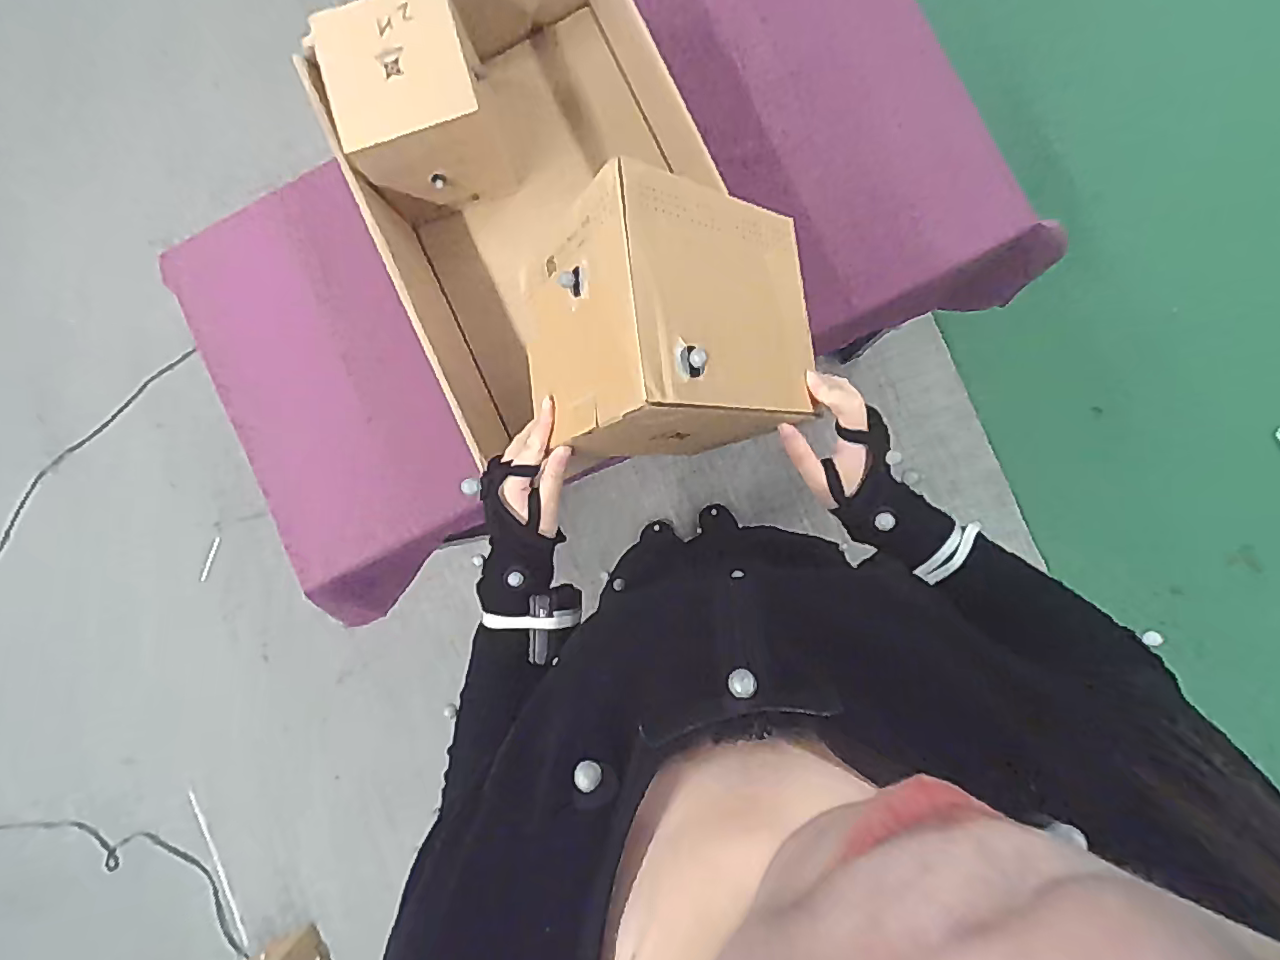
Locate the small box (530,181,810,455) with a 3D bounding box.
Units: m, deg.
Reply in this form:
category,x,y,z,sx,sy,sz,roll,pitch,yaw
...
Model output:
category,x,y,z,sx,sy,sz,roll,pitch,yaw
small box,0.018,-0.119,0.464,0.179,0.168,0.176,0,82,-33
